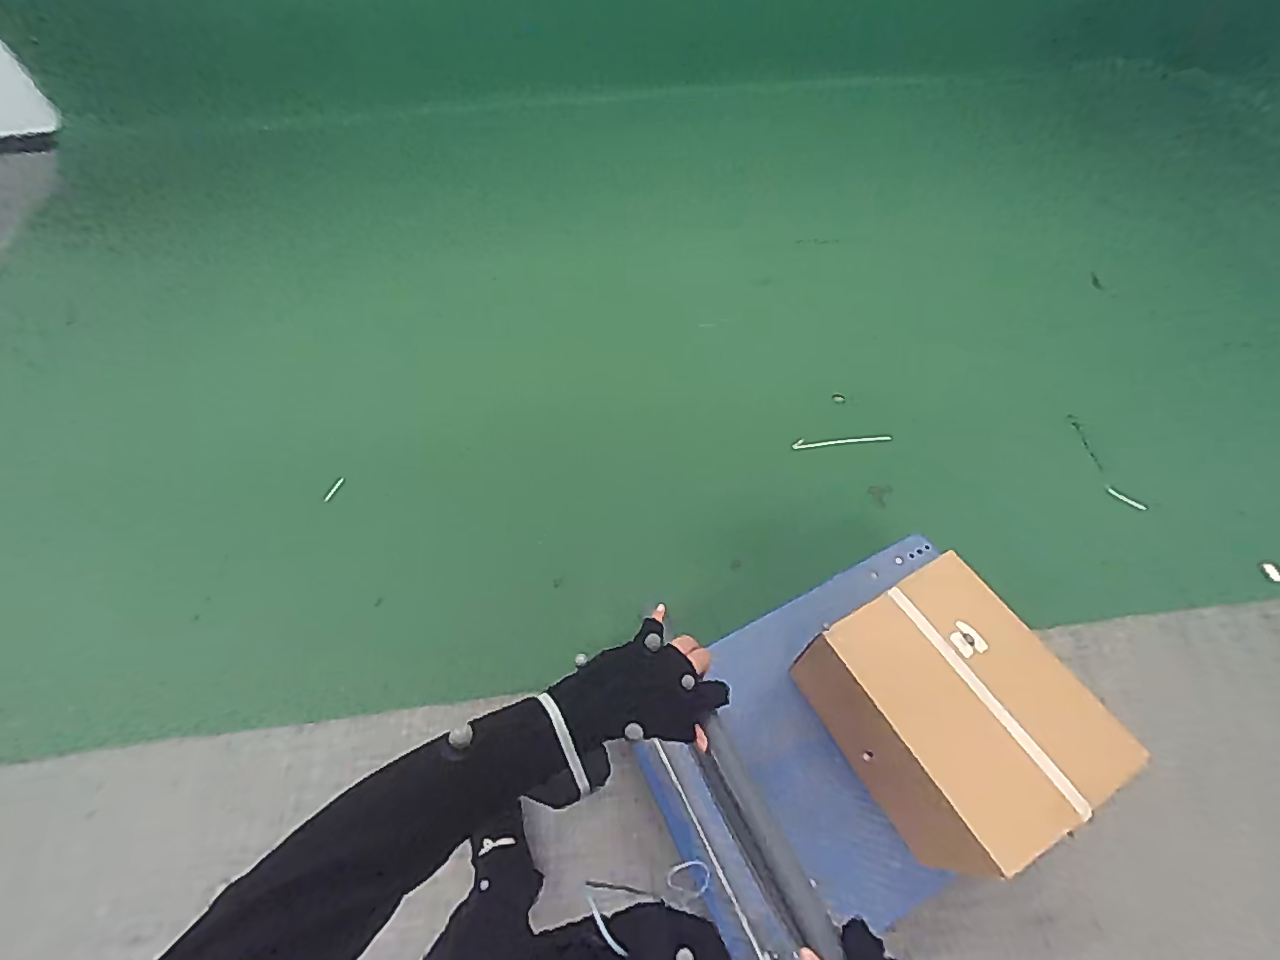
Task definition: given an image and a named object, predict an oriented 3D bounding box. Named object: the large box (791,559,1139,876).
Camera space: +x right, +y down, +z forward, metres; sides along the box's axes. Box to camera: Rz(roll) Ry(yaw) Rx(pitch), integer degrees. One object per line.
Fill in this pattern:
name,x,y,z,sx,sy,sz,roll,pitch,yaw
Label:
large box,0.551,0.436,1.016,0.320,0.320,0.408,-26,59,-14
